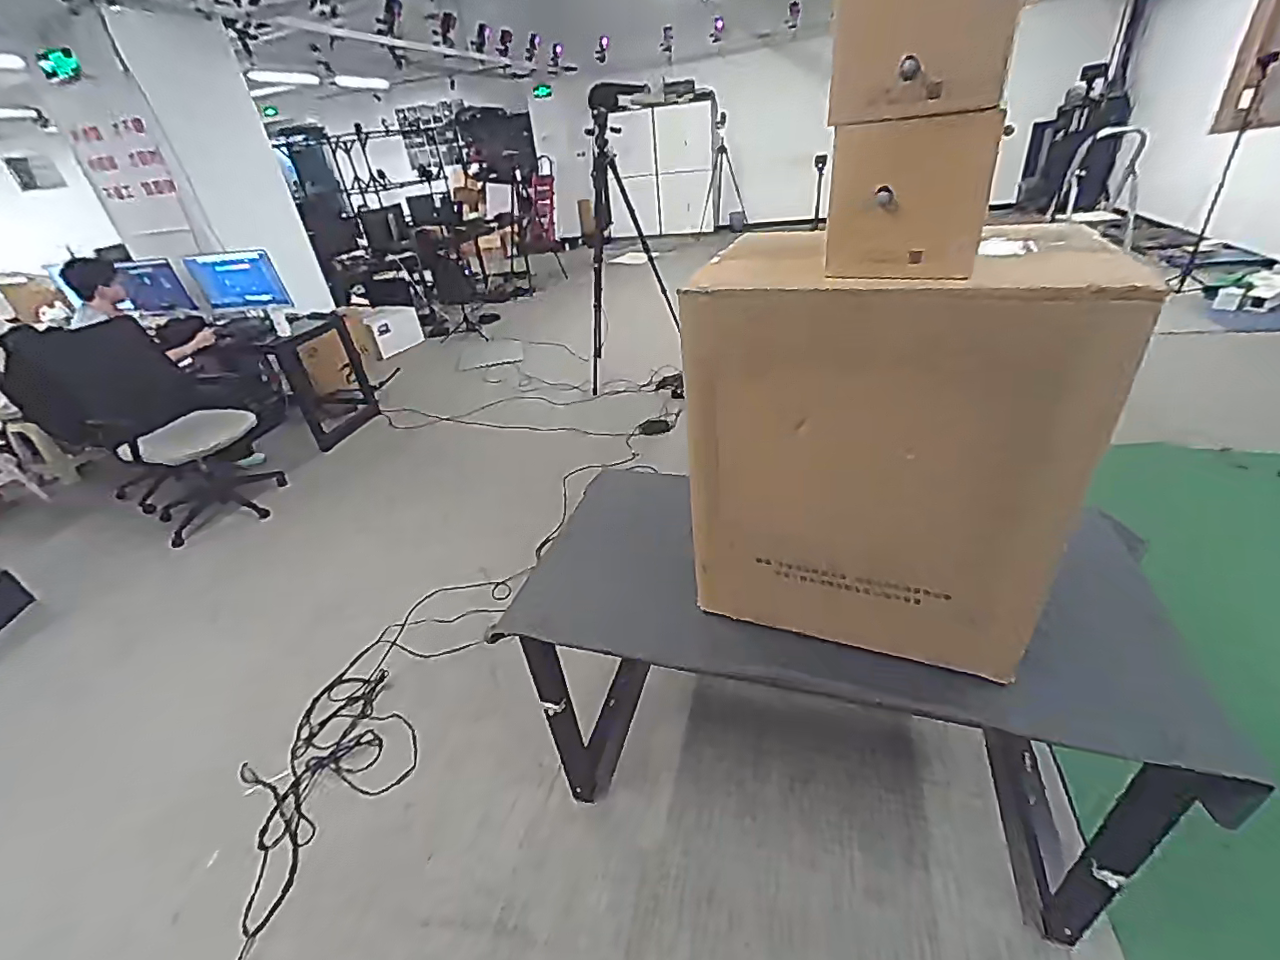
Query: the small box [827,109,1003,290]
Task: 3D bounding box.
[{"bbox_3d":[0.334,-0.342,0.669,0.168,0.176,0.179,11,38,26],"label":"small box"}]
